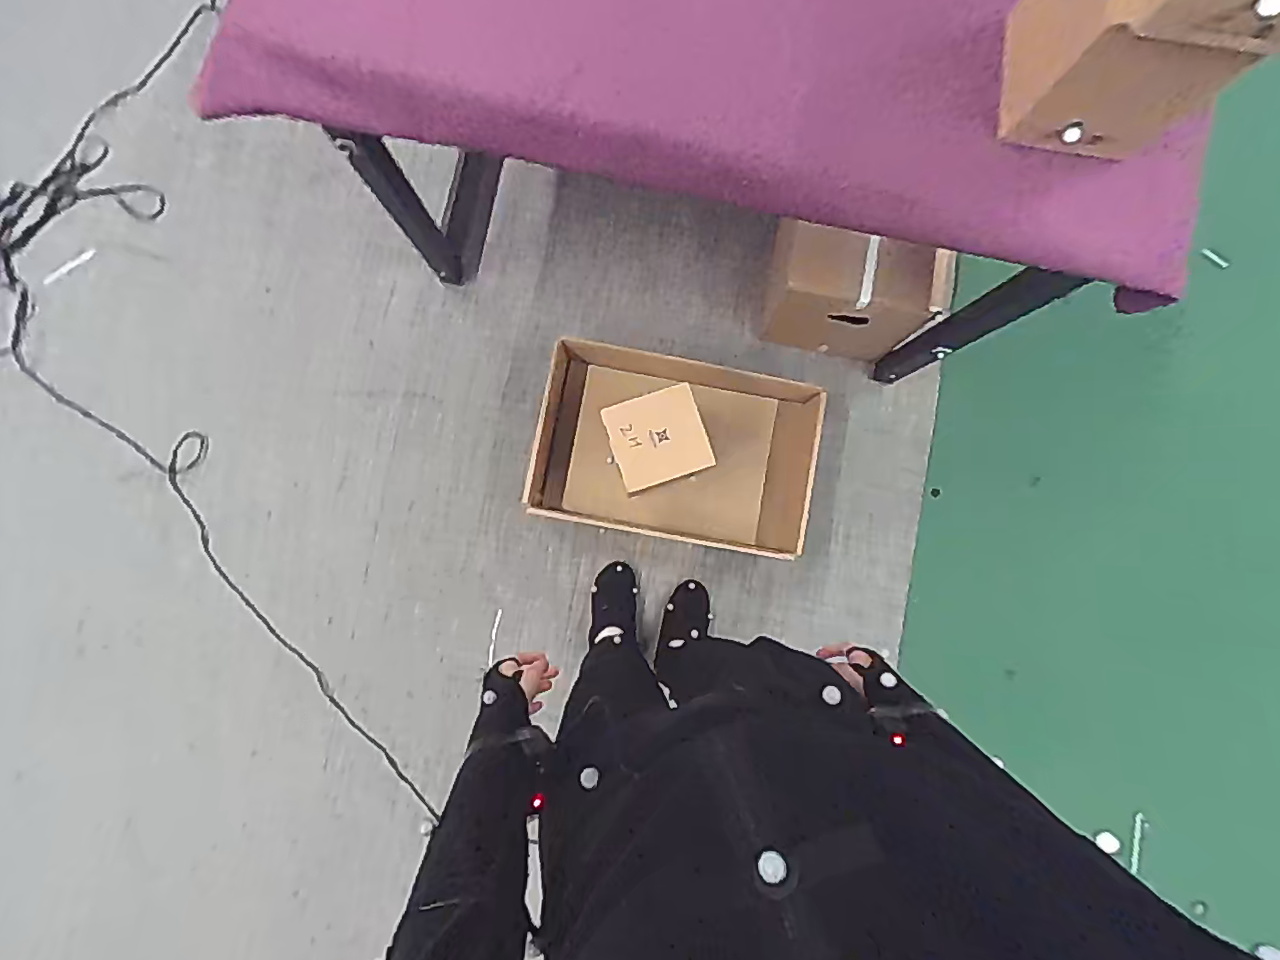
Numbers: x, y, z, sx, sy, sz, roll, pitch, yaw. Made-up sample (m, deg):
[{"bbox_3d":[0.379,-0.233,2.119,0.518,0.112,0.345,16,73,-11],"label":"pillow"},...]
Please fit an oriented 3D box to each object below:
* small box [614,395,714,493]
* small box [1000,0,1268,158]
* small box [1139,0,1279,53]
[{"bbox_3d":[0.052,-0.073,1.230,0.179,0.176,0.168,-20,87,-2],"label":"small box"},{"bbox_3d":[0.531,-0.498,0.591,0.168,0.176,0.179,8,85,1],"label":"small box"},{"bbox_3d":[0.549,-0.497,0.426,0.168,0.176,0.179,9,85,1],"label":"small box"}]
